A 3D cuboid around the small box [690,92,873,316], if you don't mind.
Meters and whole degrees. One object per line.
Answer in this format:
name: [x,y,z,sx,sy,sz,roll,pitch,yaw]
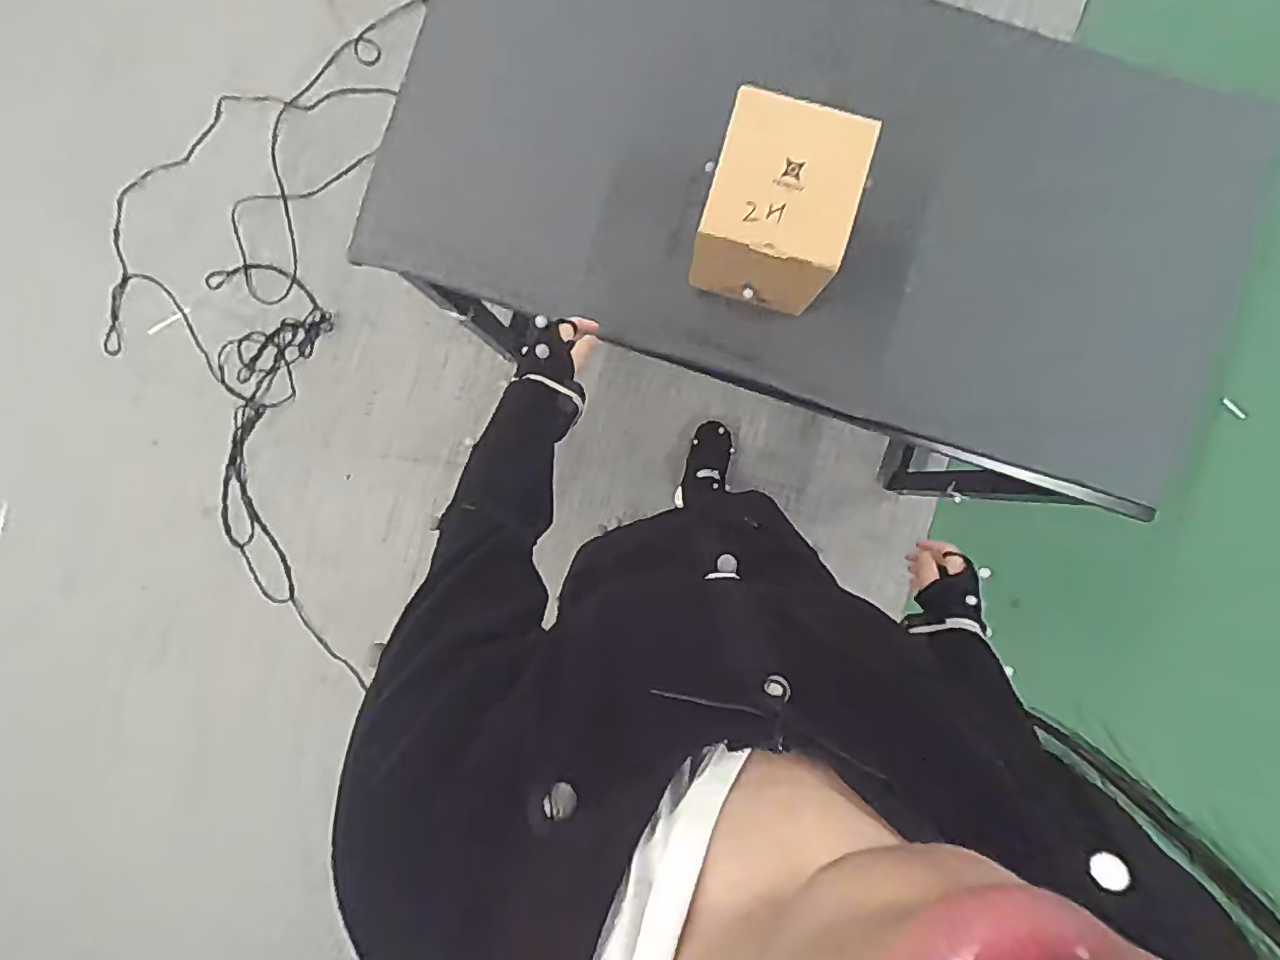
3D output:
small box: [0.166,-0.336,0.693,0.168,0.176,0.179,16,90,2]
